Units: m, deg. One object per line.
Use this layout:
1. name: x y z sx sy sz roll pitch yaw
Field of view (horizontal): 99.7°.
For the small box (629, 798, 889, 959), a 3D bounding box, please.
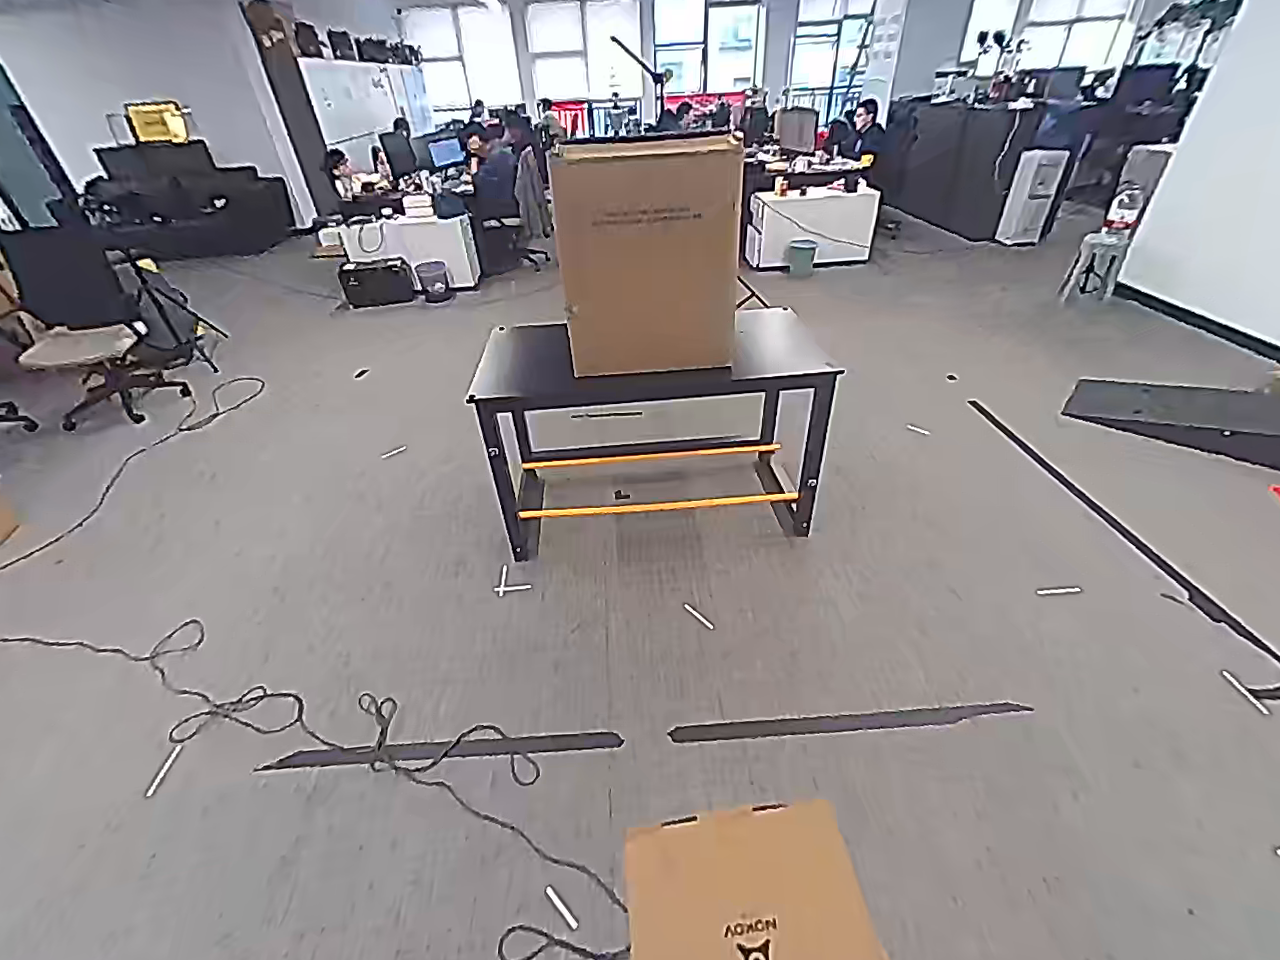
1. small box: 0.085 0.373 0.403 0.168 0.176 0.179 -8 39 -1
